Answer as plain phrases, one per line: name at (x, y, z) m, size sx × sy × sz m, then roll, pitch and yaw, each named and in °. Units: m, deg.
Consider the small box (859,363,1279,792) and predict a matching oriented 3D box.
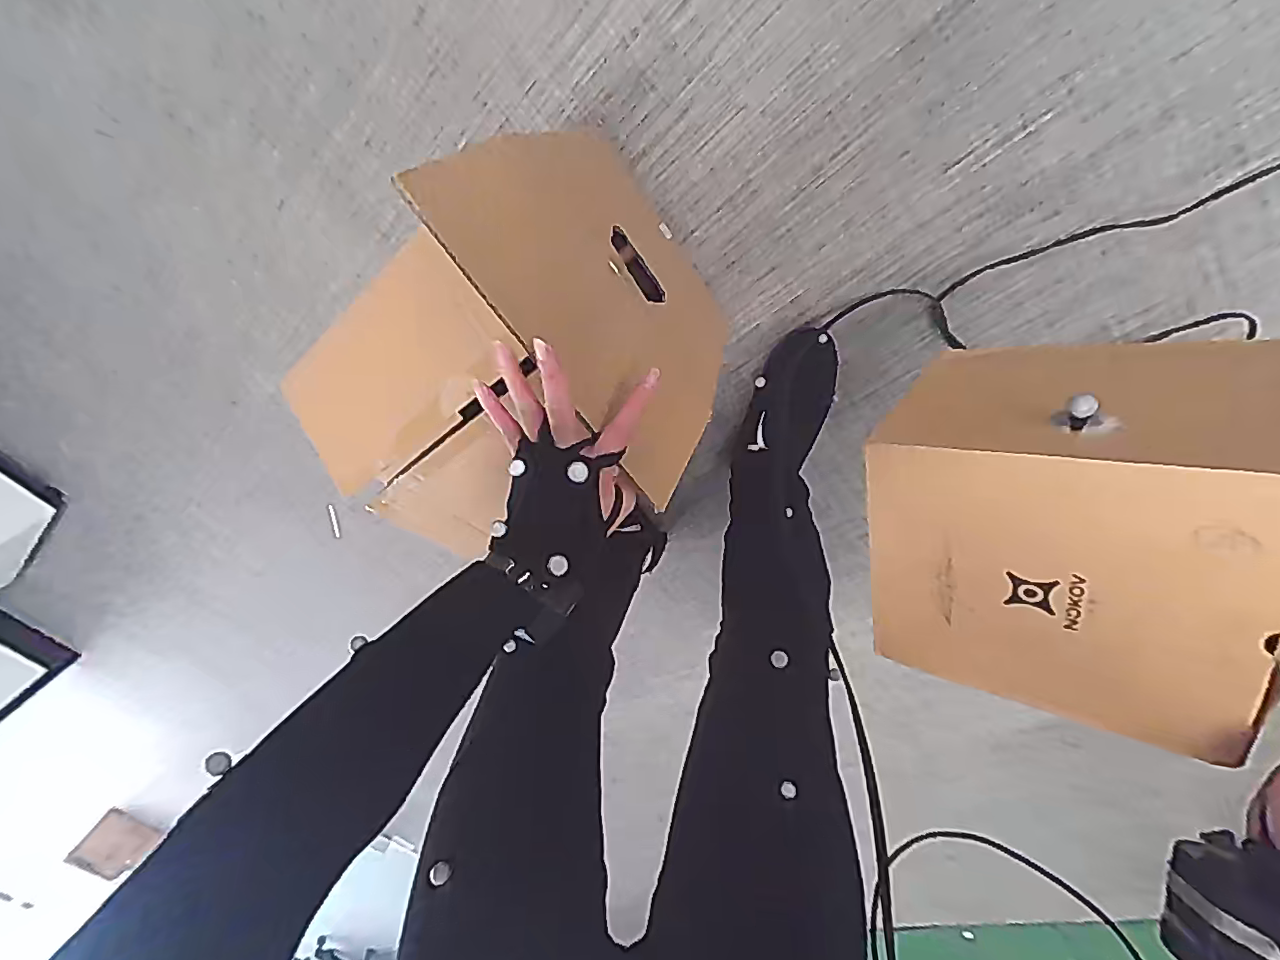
small box at (0.251, 0.032, 0.329) m, size 0.179 × 0.176 × 0.168 m, roll 11°, pitch 123°, yaw 39°
